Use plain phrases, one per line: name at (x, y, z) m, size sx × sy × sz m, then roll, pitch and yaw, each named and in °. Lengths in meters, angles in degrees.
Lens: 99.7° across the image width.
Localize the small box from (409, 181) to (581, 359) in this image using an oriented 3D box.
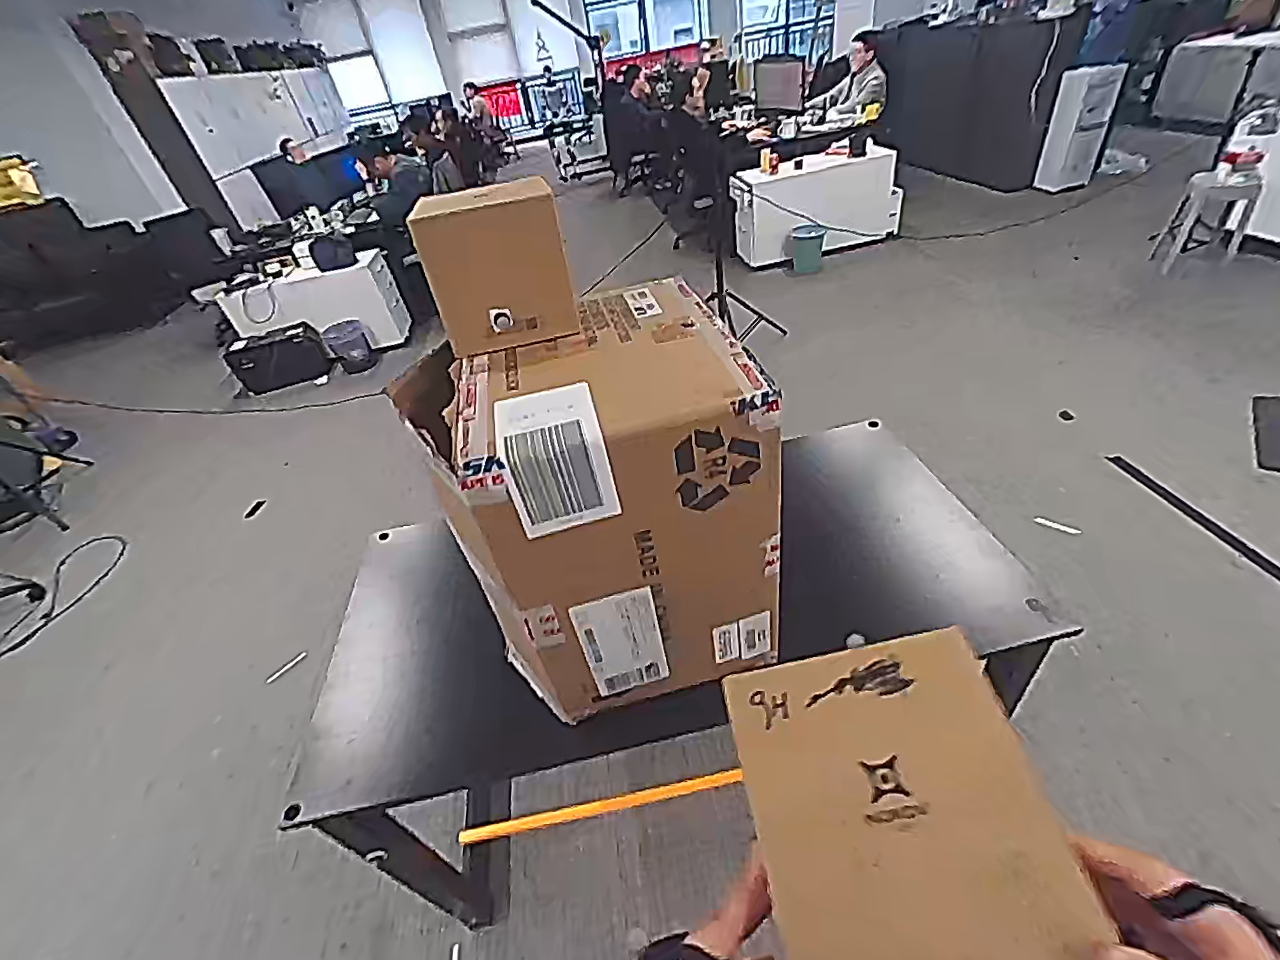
small box at (-0.183, -0.279, 0.714) m, size 0.168 × 0.176 × 0.179 m, roll -16°, pitch 37°, yaw -6°
